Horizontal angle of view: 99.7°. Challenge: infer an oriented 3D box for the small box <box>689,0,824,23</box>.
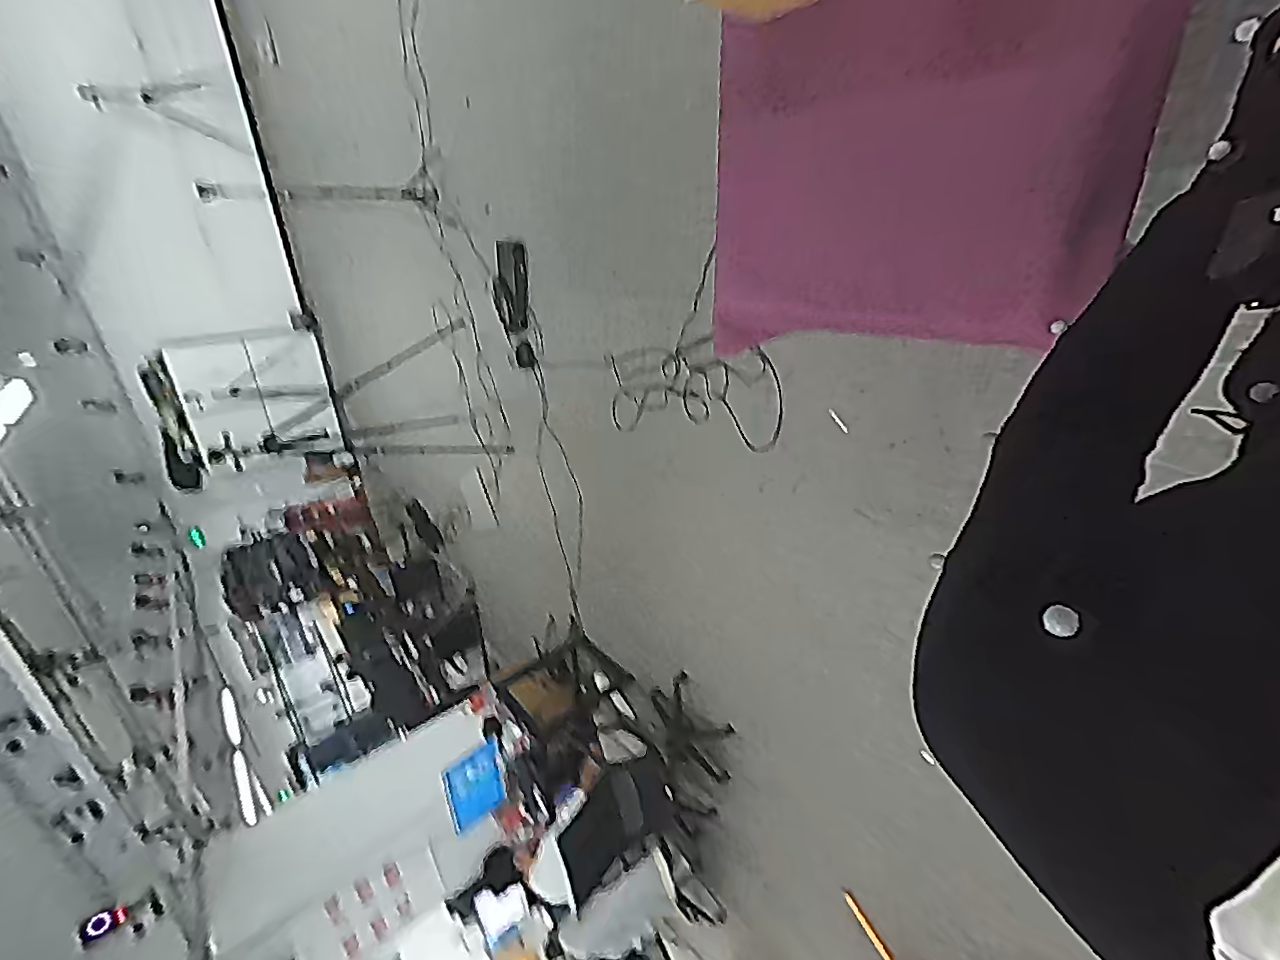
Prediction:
[{"bbox_3d":[0.187,-0.799,0.780,0.179,0.176,0.168,24,124,44],"label":"small box"}]
